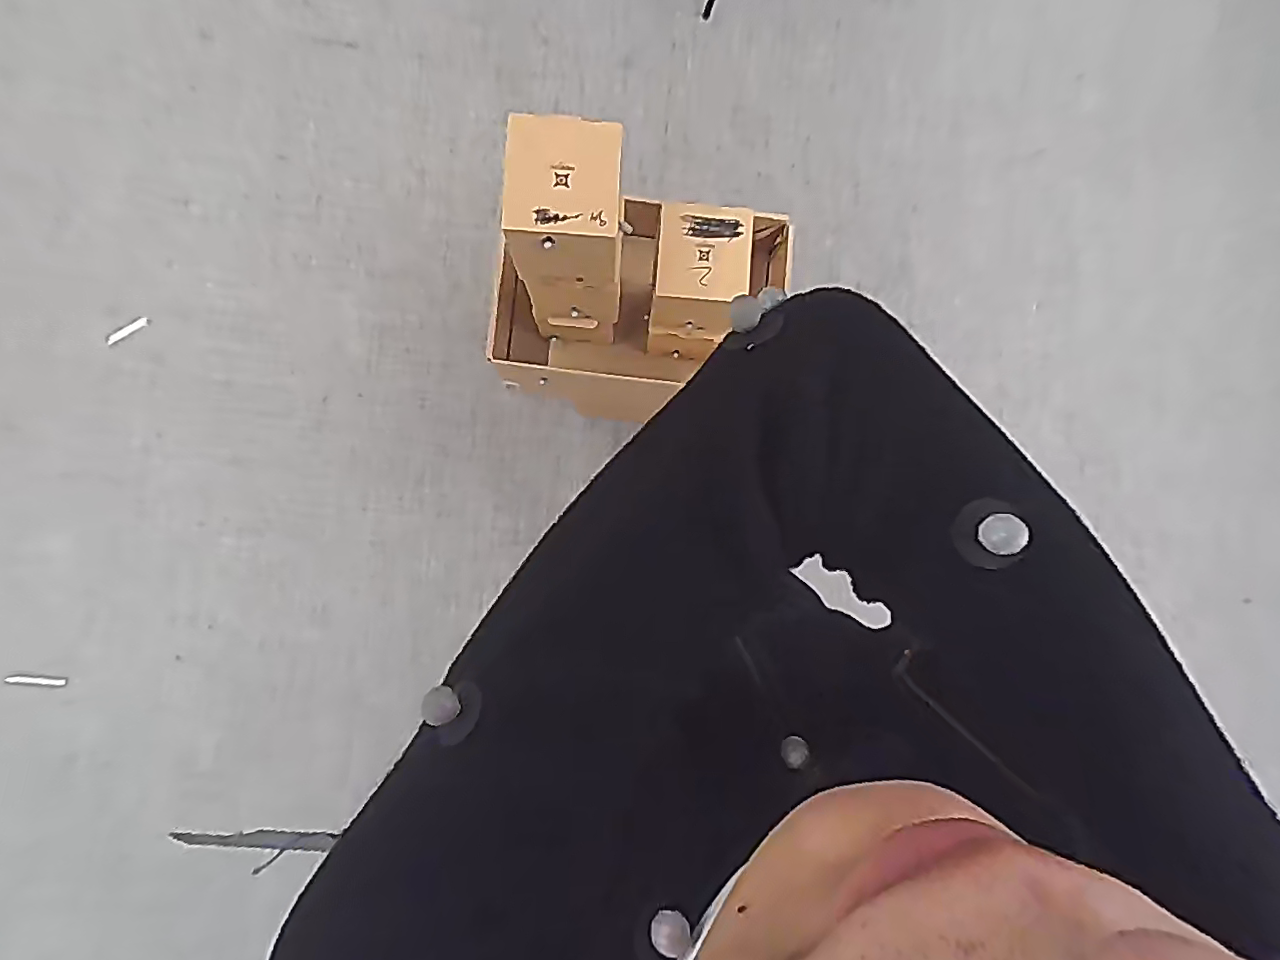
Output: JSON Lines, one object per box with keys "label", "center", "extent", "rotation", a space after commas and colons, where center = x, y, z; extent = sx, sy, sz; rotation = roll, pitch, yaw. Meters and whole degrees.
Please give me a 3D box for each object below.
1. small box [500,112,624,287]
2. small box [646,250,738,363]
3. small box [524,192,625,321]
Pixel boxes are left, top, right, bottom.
{"label": "small box", "center": [-0.115, -0.428, 0.847], "extent": [0.168, 0.176, 0.179], "rotation": [3, 85, -3]}
{"label": "small box", "center": [0.107, -0.373, 1.188], "extent": [0.168, 0.176, 0.179], "rotation": [8, 87, -2]}
{"label": "small box", "center": [-0.118, -0.416, 1.012], "extent": [0.168, 0.176, 0.179], "rotation": [3, 87, -3]}
